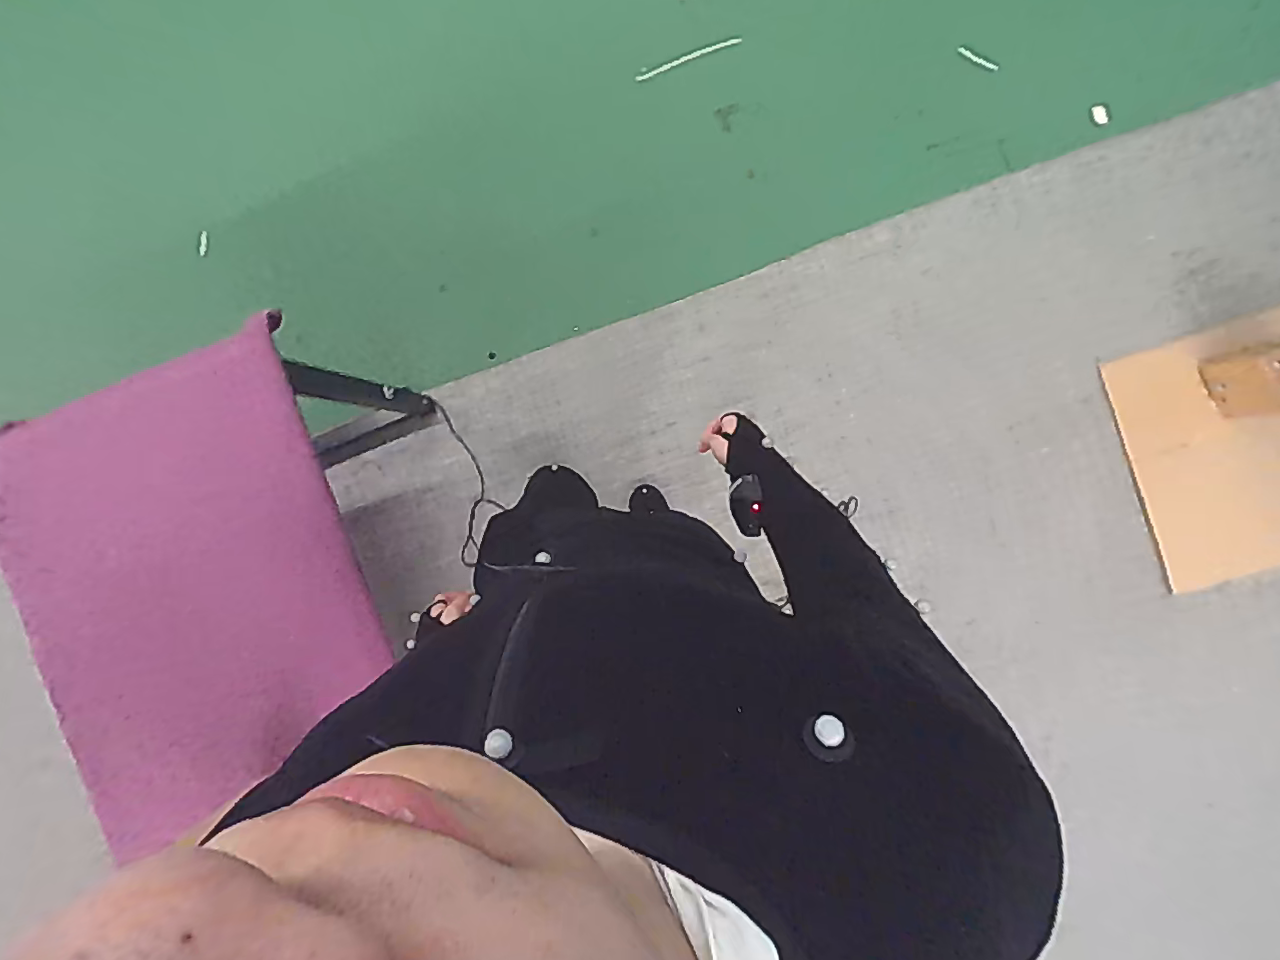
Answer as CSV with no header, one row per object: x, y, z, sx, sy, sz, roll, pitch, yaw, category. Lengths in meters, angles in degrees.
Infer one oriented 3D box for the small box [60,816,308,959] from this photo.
-0.582,0.589,0.720,0.179,0.176,0.168,-18,90,5,small box

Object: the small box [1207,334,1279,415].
1.659,-0.281,1.399,0.179,0.176,0.168,-26,89,5,small box
